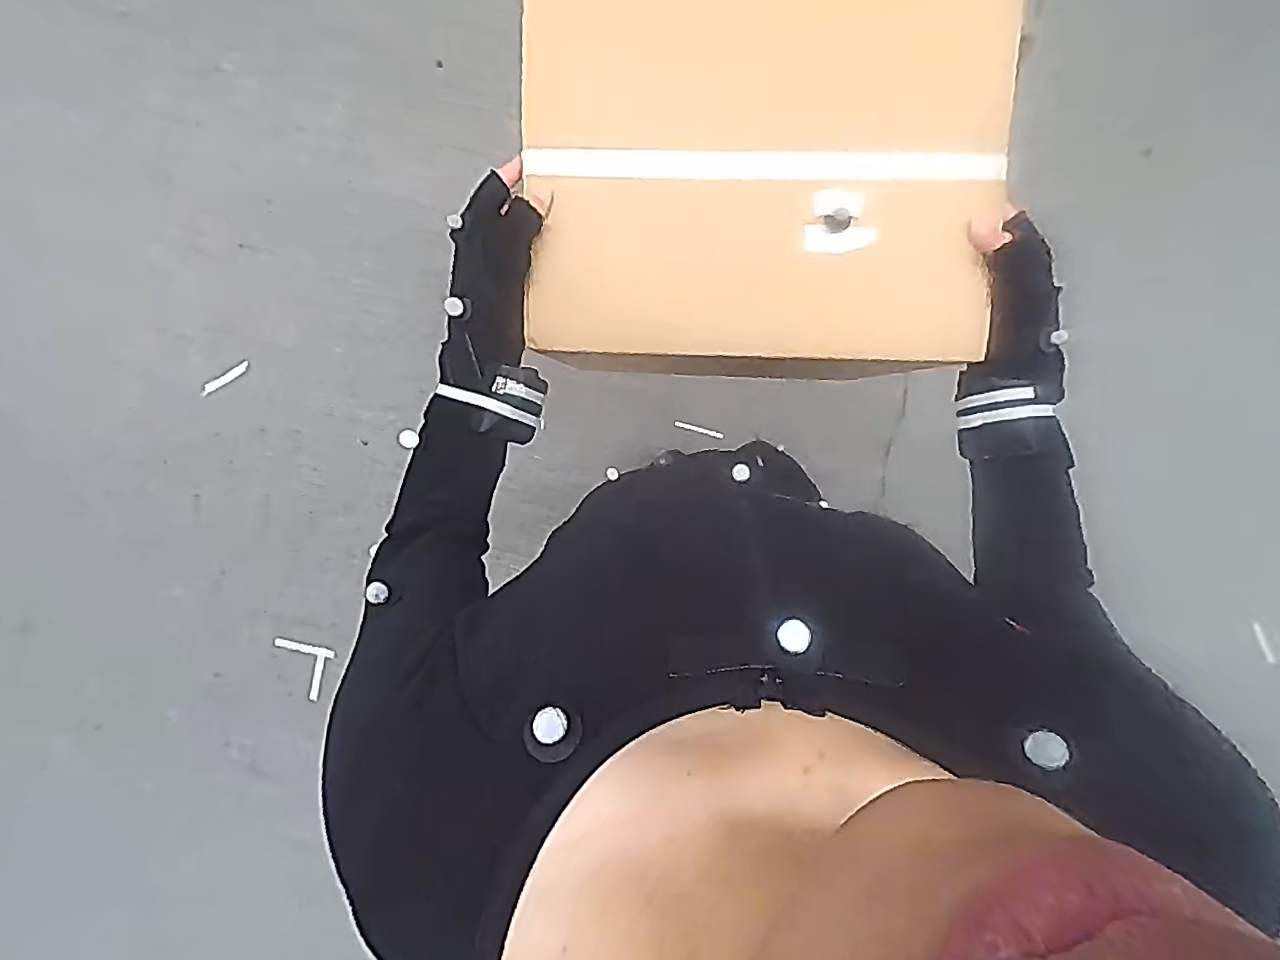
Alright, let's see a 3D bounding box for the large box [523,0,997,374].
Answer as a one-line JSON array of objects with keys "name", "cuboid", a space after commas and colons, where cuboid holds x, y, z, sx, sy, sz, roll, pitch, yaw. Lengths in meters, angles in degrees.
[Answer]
[{"name": "large box", "cuboid": [0.101, -0.290, 0.616, 0.408, 0.320, 0.320, 1, 97, 2]}]
